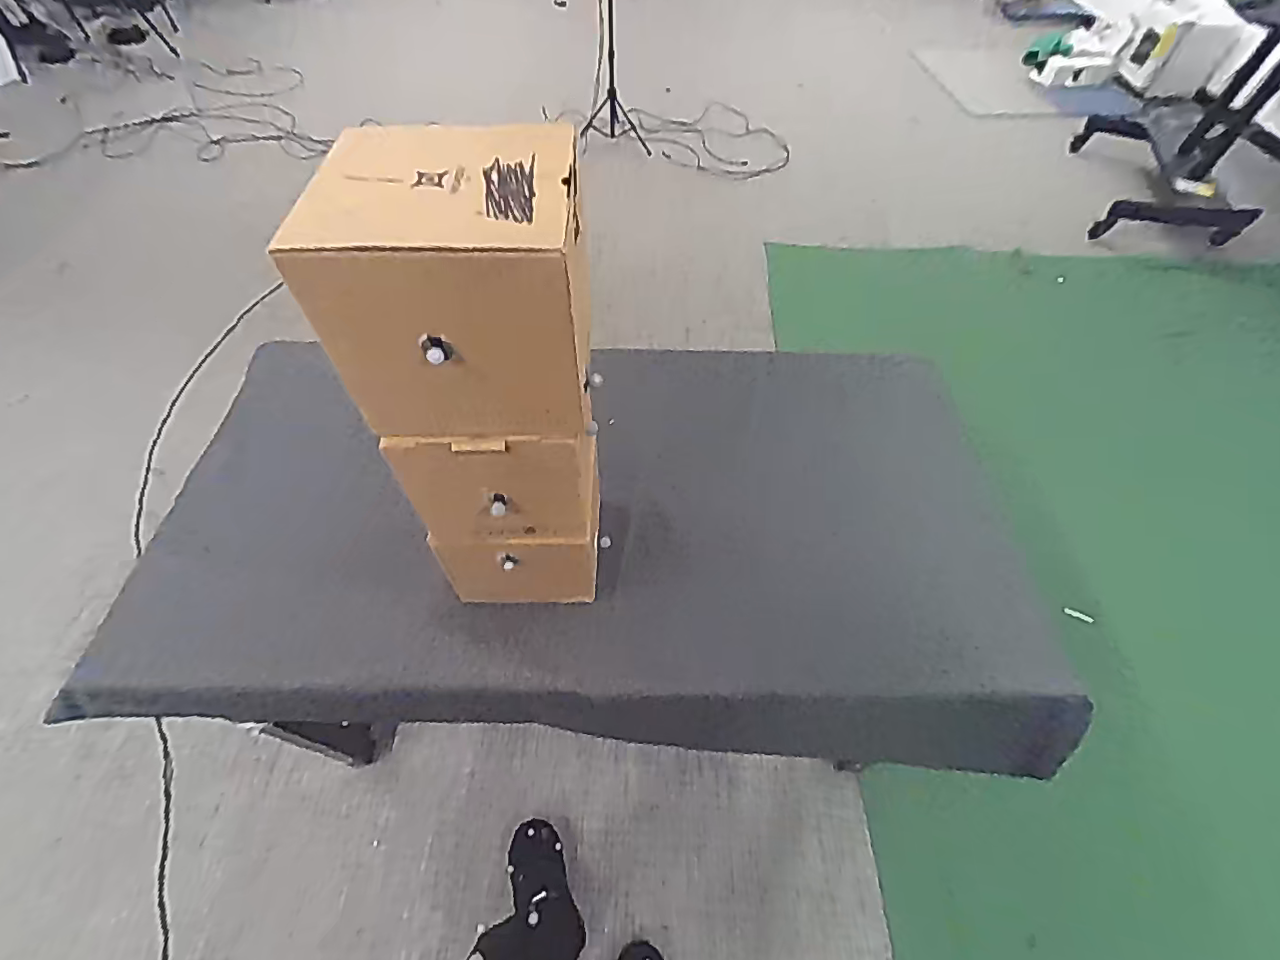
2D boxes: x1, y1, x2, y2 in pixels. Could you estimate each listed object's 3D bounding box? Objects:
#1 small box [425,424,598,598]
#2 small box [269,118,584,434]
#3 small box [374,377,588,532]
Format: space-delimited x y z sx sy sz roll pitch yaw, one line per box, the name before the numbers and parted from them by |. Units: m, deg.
small box | -0.146 0.042 0.687 0.179 0.176 0.168 1 56 -3
small box | -0.133 -0.149 0.420 0.179 0.176 0.168 -2 55 -4
small box | -0.141 -0.056 0.556 0.168 0.176 0.179 -1 56 -2
